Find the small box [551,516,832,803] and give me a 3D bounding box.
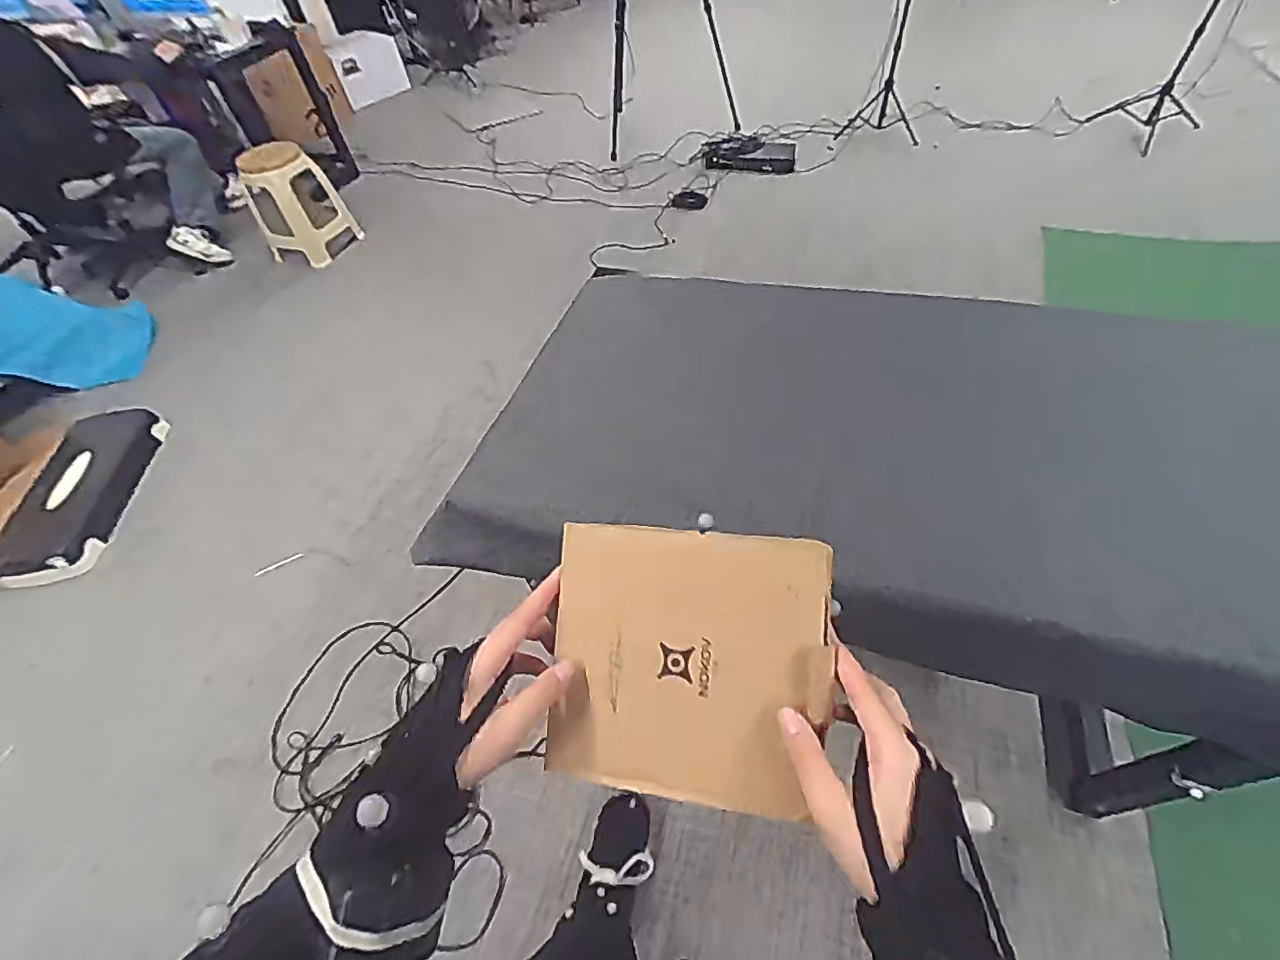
[{"bbox_3d":[0.048,0.117,0.424,0.179,0.176,0.168,2,84,14],"label":"small box"}]
